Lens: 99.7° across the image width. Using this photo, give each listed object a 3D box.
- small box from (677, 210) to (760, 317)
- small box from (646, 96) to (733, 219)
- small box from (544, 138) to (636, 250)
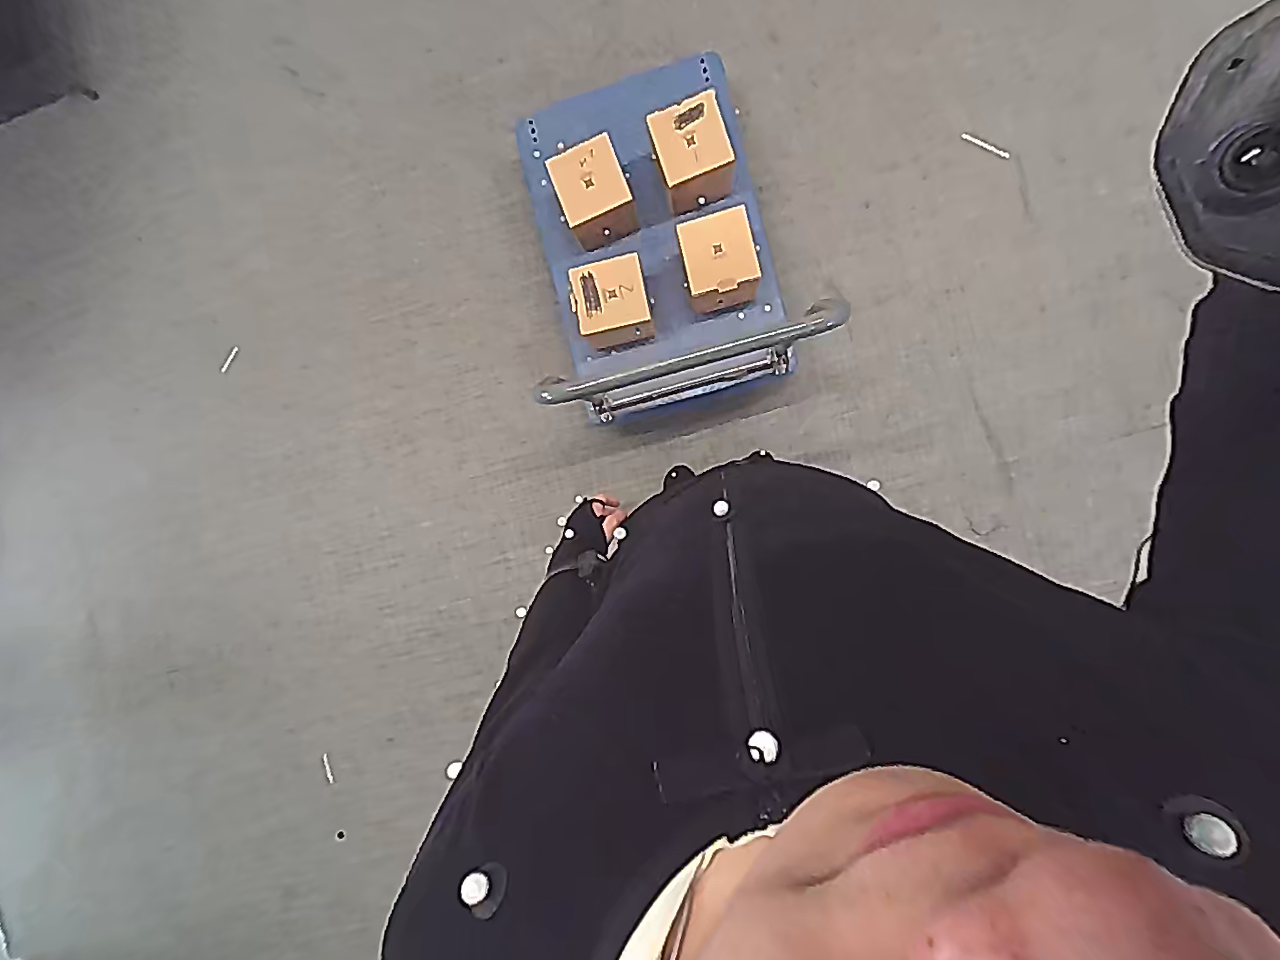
[{"bbox_3d":[0.190,-0.529,1.343,0.168,0.176,0.179,-14,91,7],"label":"small box"},{"bbox_3d":[0.123,-0.790,1.340,0.168,0.176,0.179,-18,91,8],"label":"small box"},{"bbox_3d":[-0.118,-0.709,1.372,0.168,0.176,0.179,-21,90,6],"label":"small box"}]
